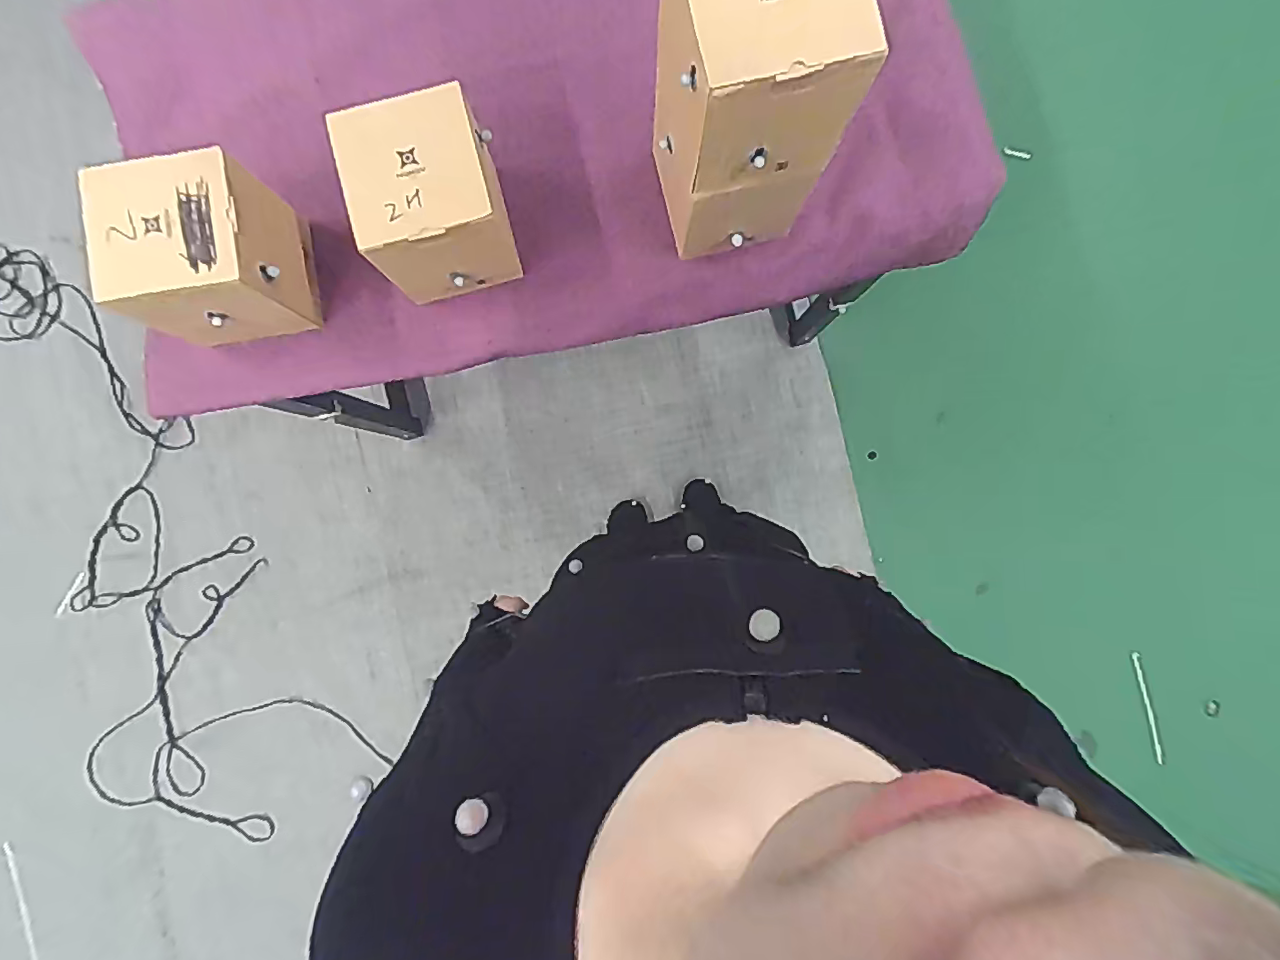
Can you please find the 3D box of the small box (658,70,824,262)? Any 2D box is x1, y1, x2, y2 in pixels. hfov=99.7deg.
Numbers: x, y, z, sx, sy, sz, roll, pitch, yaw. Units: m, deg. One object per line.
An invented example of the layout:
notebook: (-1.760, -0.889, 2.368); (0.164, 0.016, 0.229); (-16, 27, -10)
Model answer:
small box: (0.121, -0.425, 0.724); (0.168, 0.176, 0.179); (-13, 88, 0)

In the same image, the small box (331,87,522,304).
small box: (-0.269, -0.362, 0.717); (0.168, 0.176, 0.179); (-15, 87, -1)

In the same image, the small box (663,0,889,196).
small box: (0.122, -0.436, 0.562); (0.168, 0.176, 0.179); (-14, 88, -1)
